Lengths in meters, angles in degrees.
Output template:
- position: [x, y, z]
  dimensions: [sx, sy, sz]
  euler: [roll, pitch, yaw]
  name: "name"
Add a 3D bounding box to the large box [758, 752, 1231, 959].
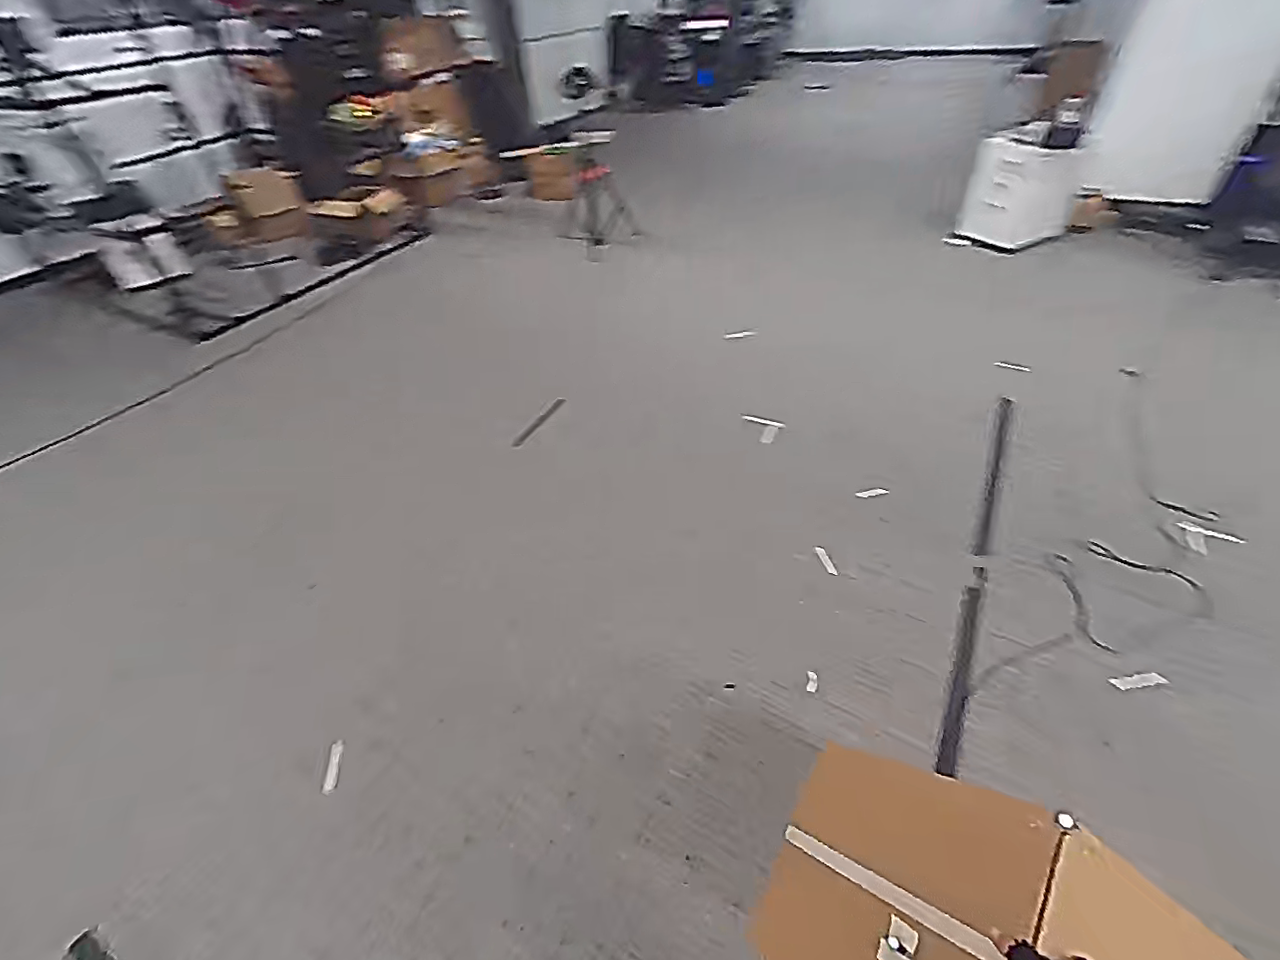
- position: [0.434, 0.621, 0.697]
  dimensions: [0.320, 0.408, 0.320]
  euler: [39, 68, -5]
  name: "large box"
